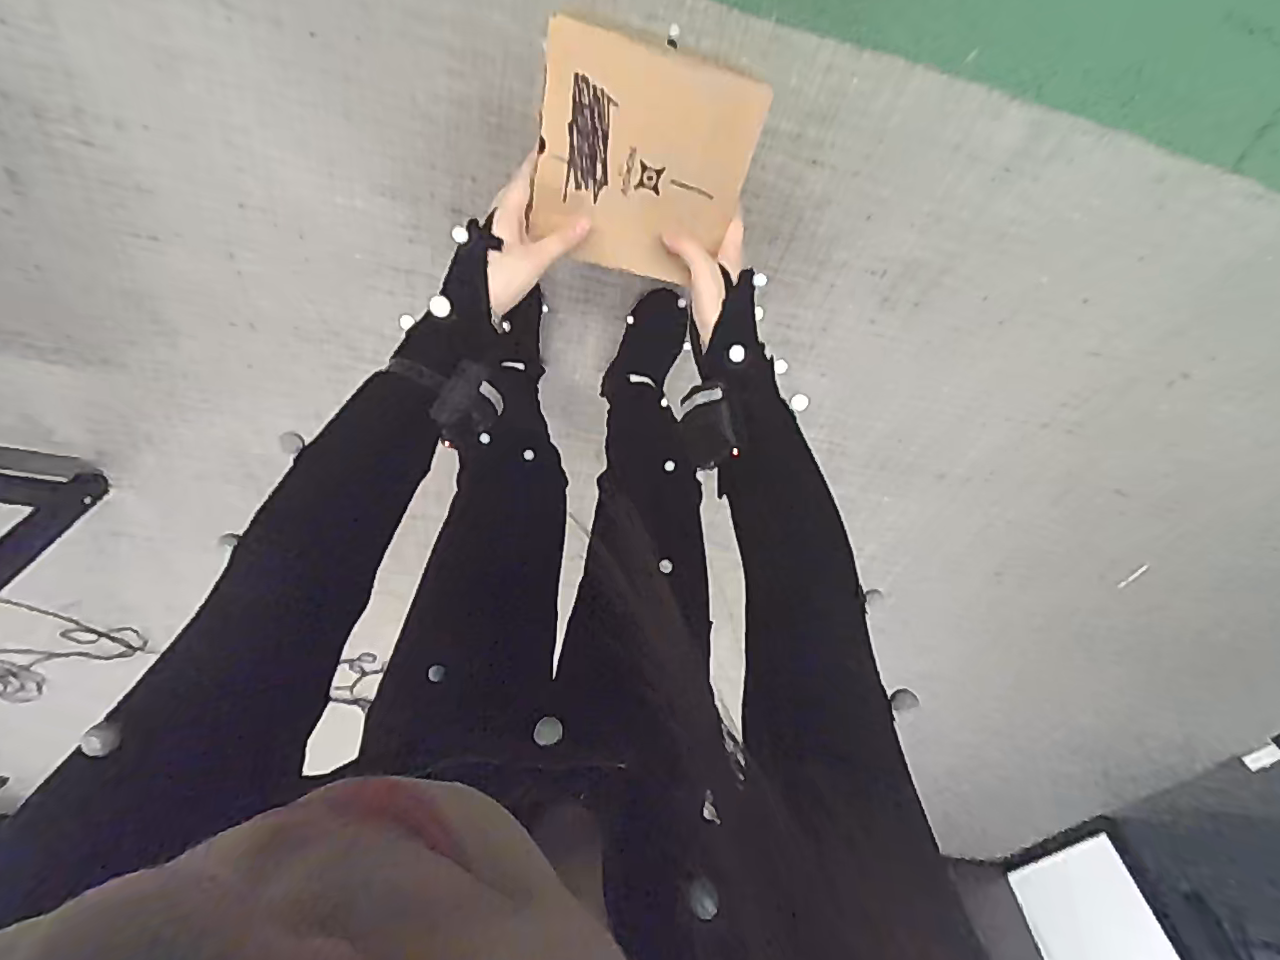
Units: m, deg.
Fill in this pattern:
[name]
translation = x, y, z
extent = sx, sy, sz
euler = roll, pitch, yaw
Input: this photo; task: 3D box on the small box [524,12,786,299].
[small box]
translation = 0.001, -0.293, 0.489
extent = 0.179, 0.176, 0.168
euler = 9, 132, -12
